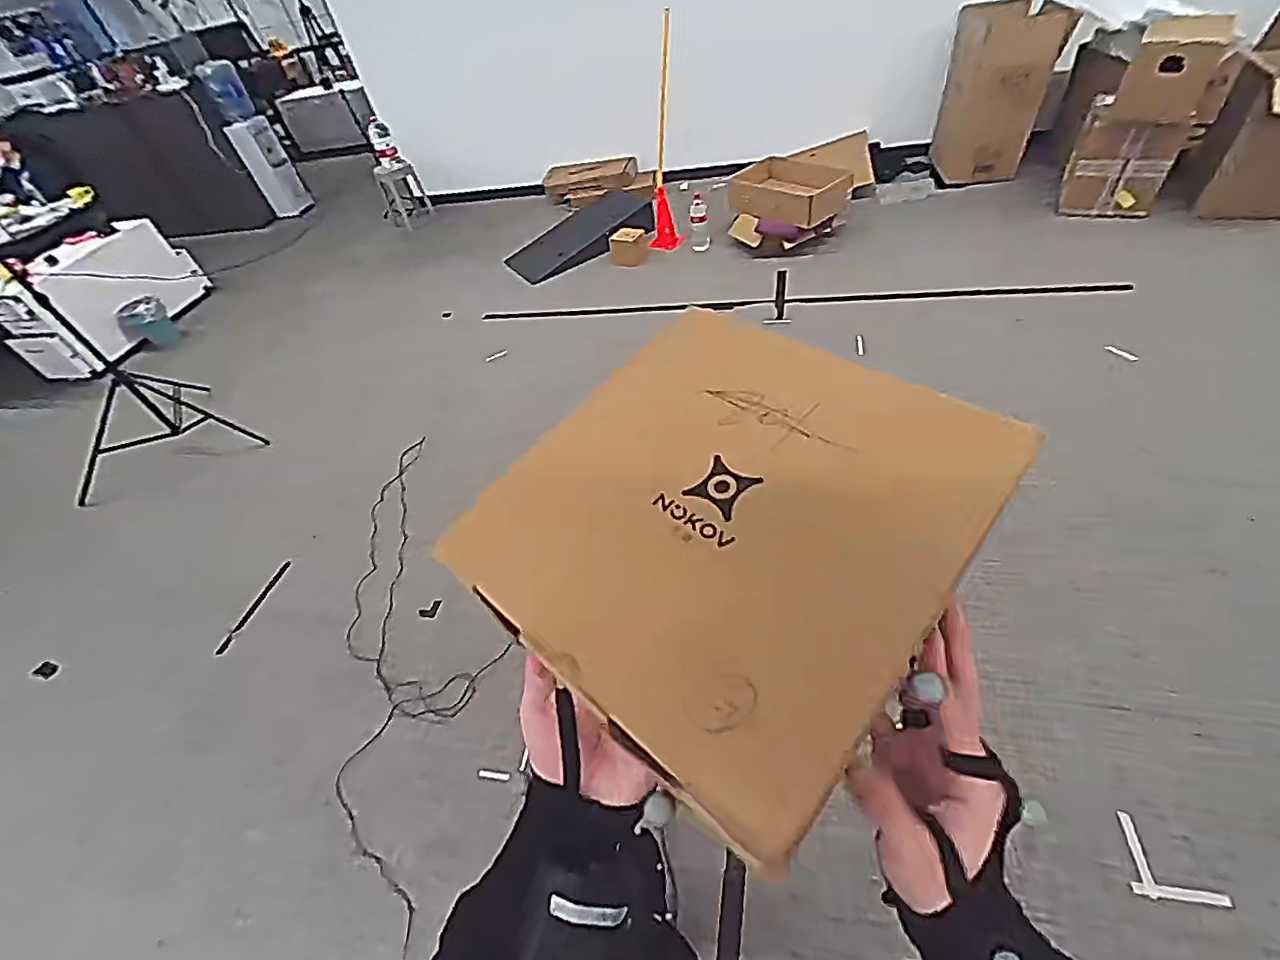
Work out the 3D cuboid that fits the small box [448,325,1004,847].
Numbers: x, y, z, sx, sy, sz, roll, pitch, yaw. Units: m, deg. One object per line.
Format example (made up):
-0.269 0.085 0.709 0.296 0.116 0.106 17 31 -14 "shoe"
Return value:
0.045 0.057 0.284 0.168 0.176 0.179 30 66 30 "small box"
